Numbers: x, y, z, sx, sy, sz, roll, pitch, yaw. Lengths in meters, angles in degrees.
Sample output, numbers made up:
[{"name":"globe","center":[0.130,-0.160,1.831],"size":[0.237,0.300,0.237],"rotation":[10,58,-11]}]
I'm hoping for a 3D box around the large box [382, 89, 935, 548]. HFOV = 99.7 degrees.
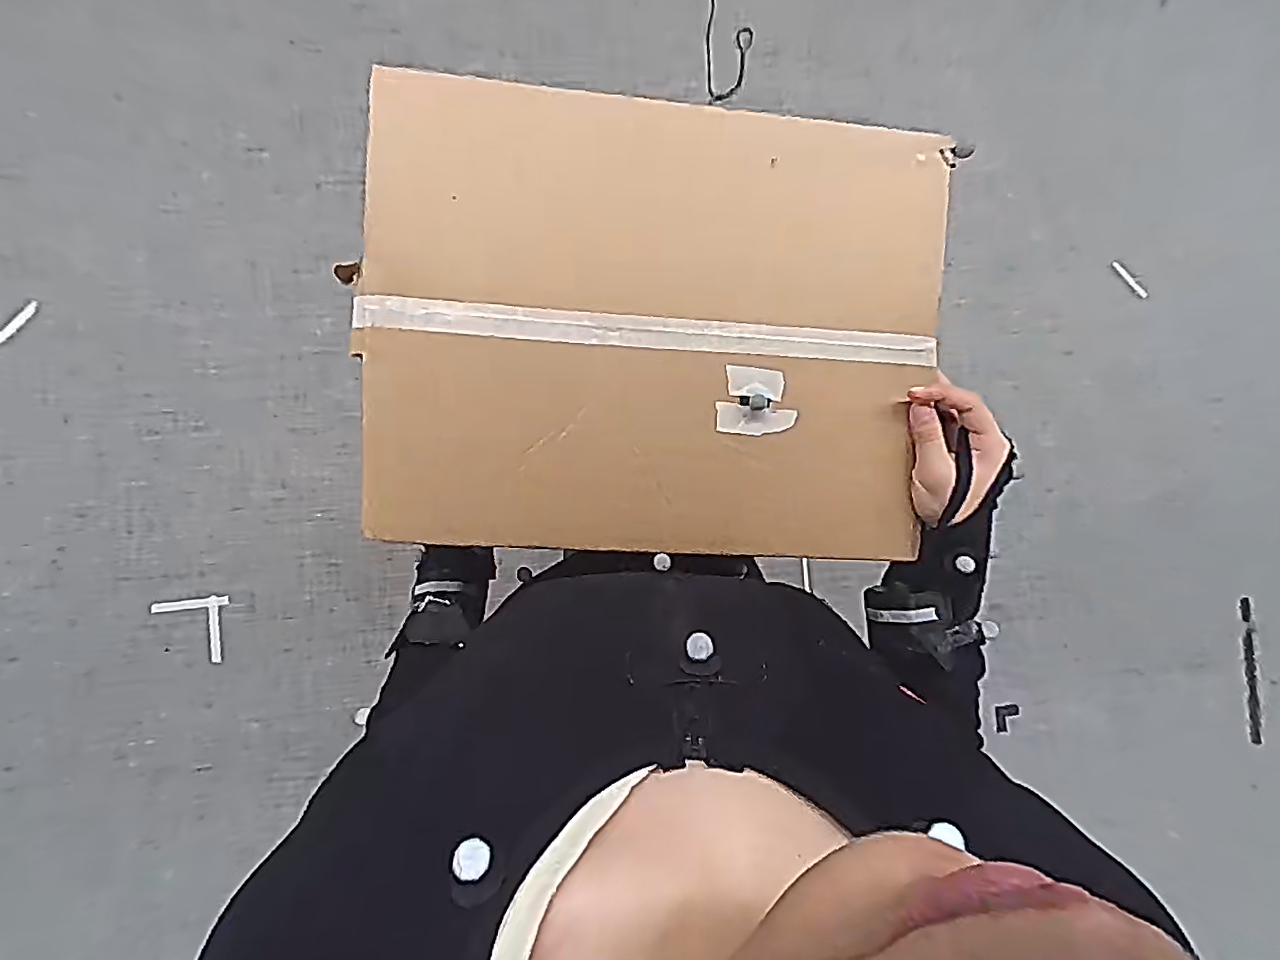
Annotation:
[{"name":"large box","center":[0.002,-0.113,0.538],"size":[0.408,0.320,0.320],"rotation":[2,94,-7]}]
